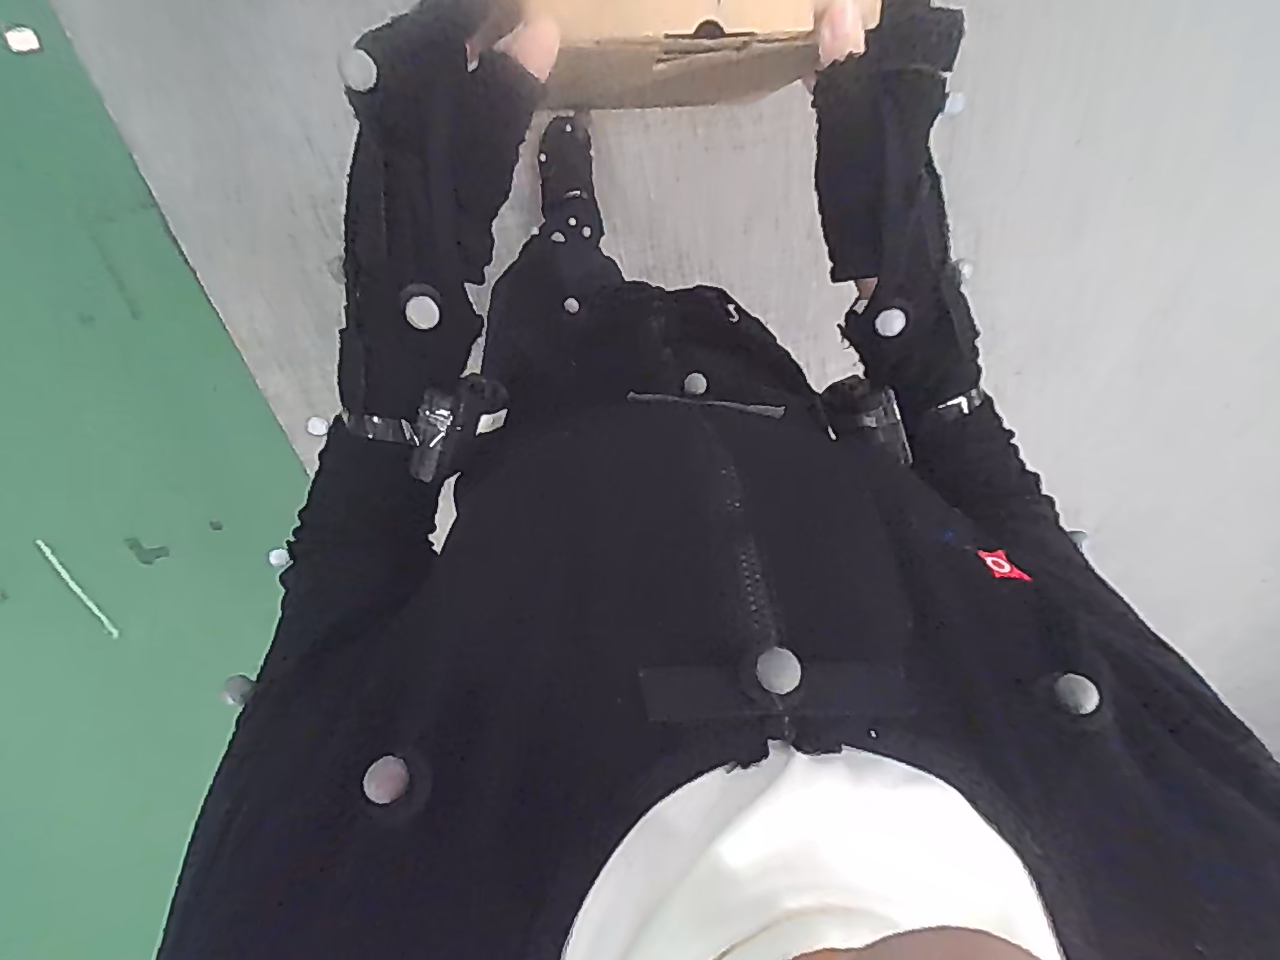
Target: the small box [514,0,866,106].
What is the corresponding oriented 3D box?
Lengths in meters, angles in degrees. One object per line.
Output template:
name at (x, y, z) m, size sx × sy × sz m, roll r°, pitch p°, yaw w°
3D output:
small box at (0.012, -0.315, 0.287) m, size 0.168 × 0.176 × 0.179 m, roll -7°, pitch 115°, yaw -6°
